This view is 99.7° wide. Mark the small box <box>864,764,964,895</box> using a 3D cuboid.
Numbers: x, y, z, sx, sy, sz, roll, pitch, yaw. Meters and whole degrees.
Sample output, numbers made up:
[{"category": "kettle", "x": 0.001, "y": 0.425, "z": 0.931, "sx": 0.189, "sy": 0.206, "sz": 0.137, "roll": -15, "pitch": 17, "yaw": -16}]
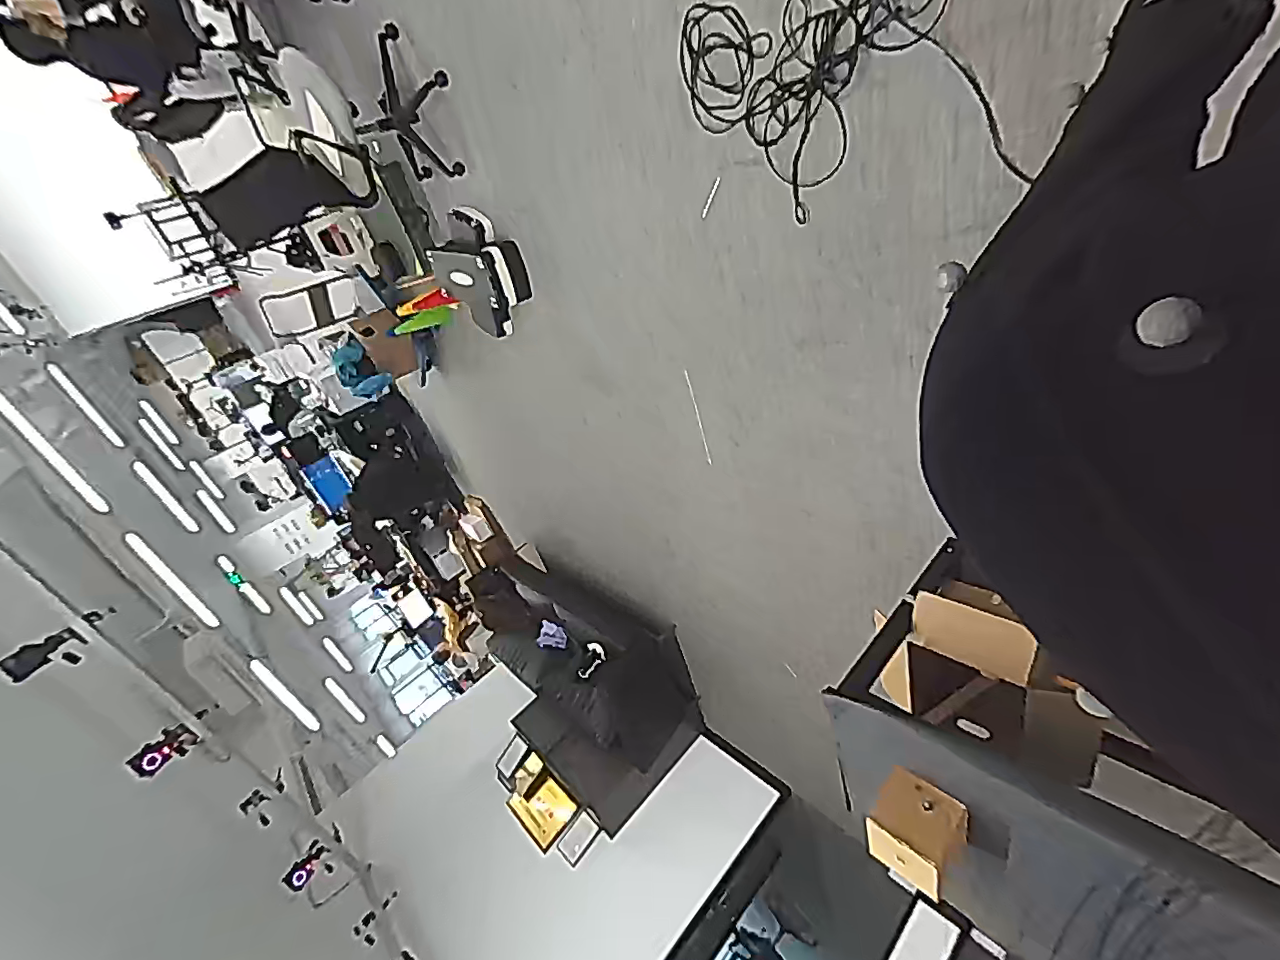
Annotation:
[{"category": "small box", "x": 0.672, "y": 0.848, "z": 1.324, "sx": 0.168, "sy": 0.176, "sz": 0.179, "roll": 18, "pitch": 136, "yaw": 46}]
